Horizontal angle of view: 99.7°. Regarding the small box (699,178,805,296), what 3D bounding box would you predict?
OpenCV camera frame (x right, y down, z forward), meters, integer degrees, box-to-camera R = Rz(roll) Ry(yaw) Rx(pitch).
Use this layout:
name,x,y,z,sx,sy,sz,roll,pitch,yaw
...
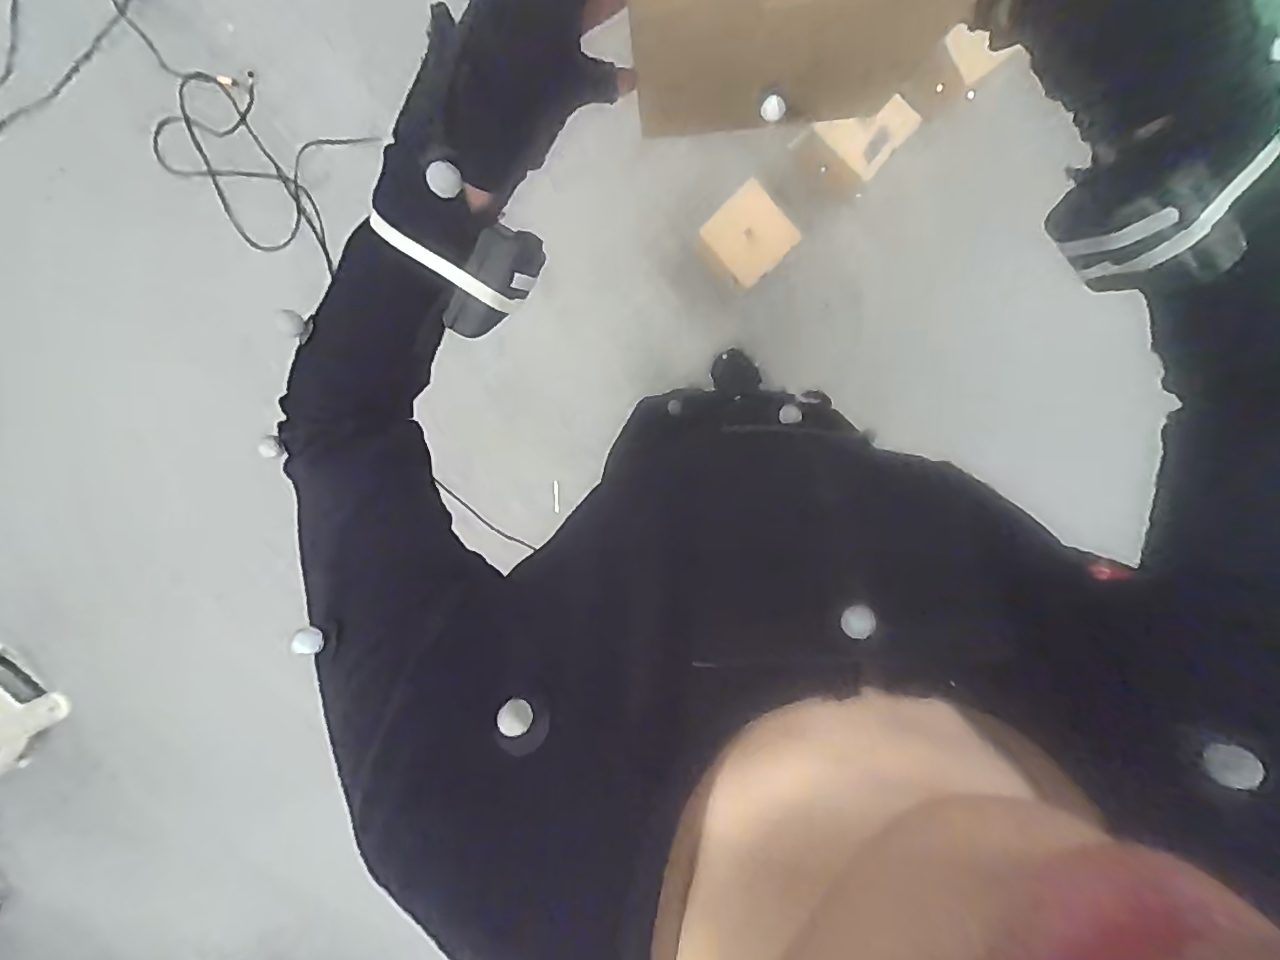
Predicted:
name,x,y,z,sx,sy,sz,roll,pitch,yaw
small box,0.254,-0.560,1.278,0.168,0.176,0.179,-44,96,10

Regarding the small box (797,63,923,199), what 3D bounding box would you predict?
name,x,y,z,sx,sy,sz,roll,pitch,yaw
small box,0.486,-0.770,1.223,0.179,0.176,0.168,41,100,-4
